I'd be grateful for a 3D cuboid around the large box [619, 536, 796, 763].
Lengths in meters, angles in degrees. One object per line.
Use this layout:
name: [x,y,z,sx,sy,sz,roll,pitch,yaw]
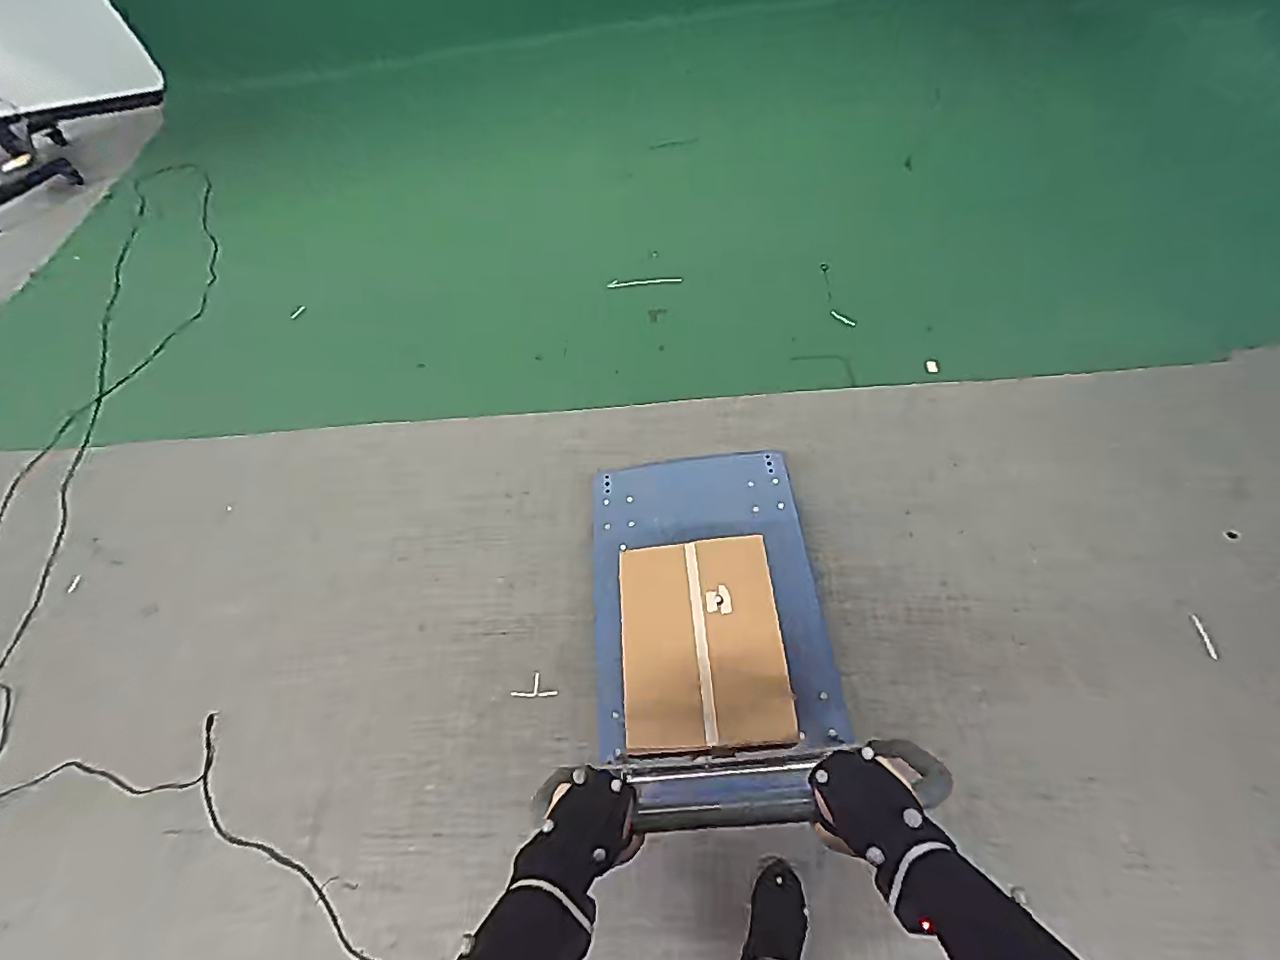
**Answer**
large box: [0.141,0.387,1.211,0.320,0.320,0.408,-7,58,5]
